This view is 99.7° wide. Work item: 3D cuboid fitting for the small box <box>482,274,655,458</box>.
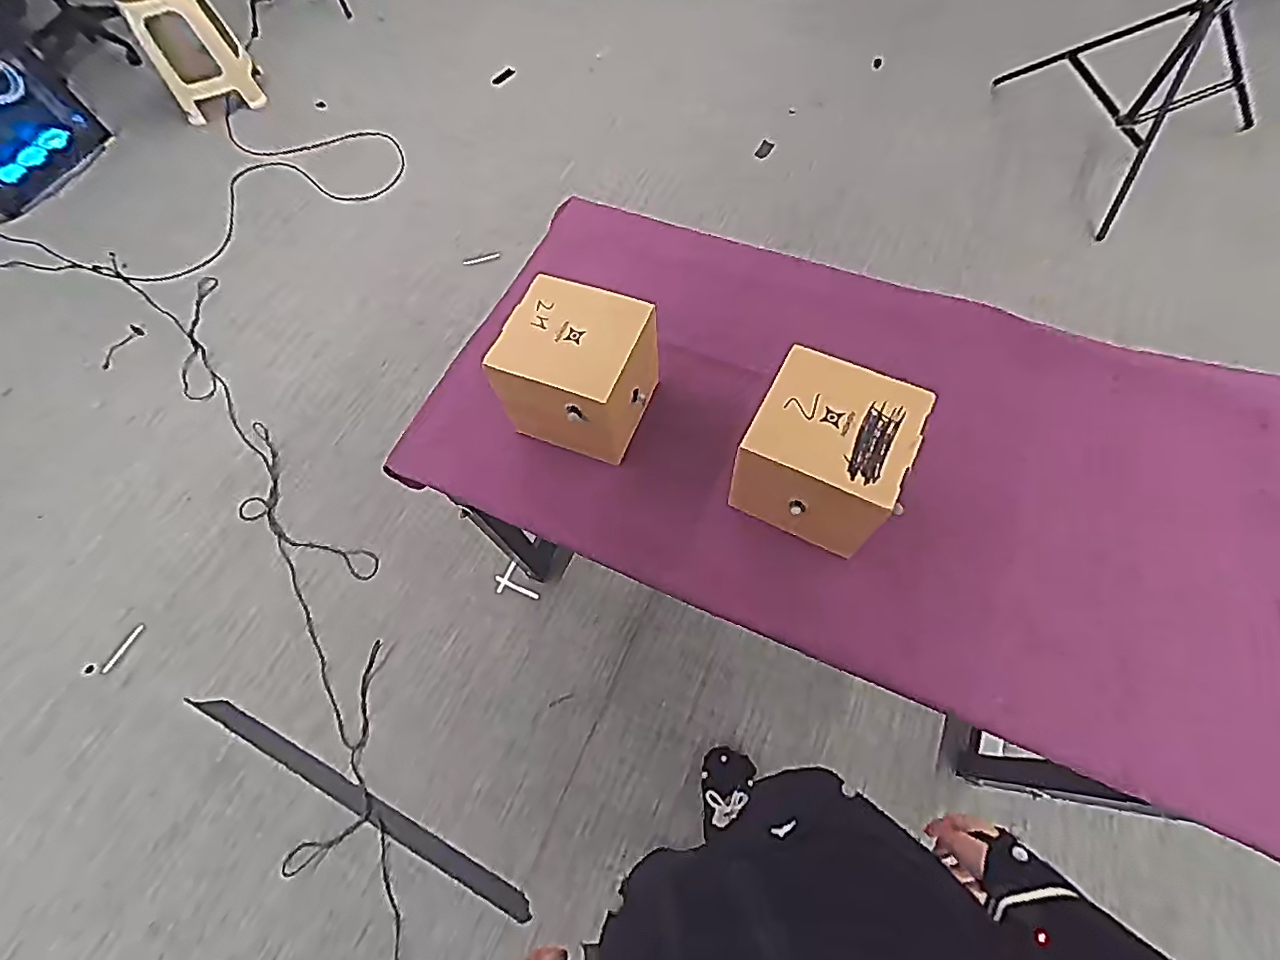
[{"bbox_3d":[-0.085,-0.152,0.762,0.179,0.176,0.168,19,66,12],"label":"small box"}]
